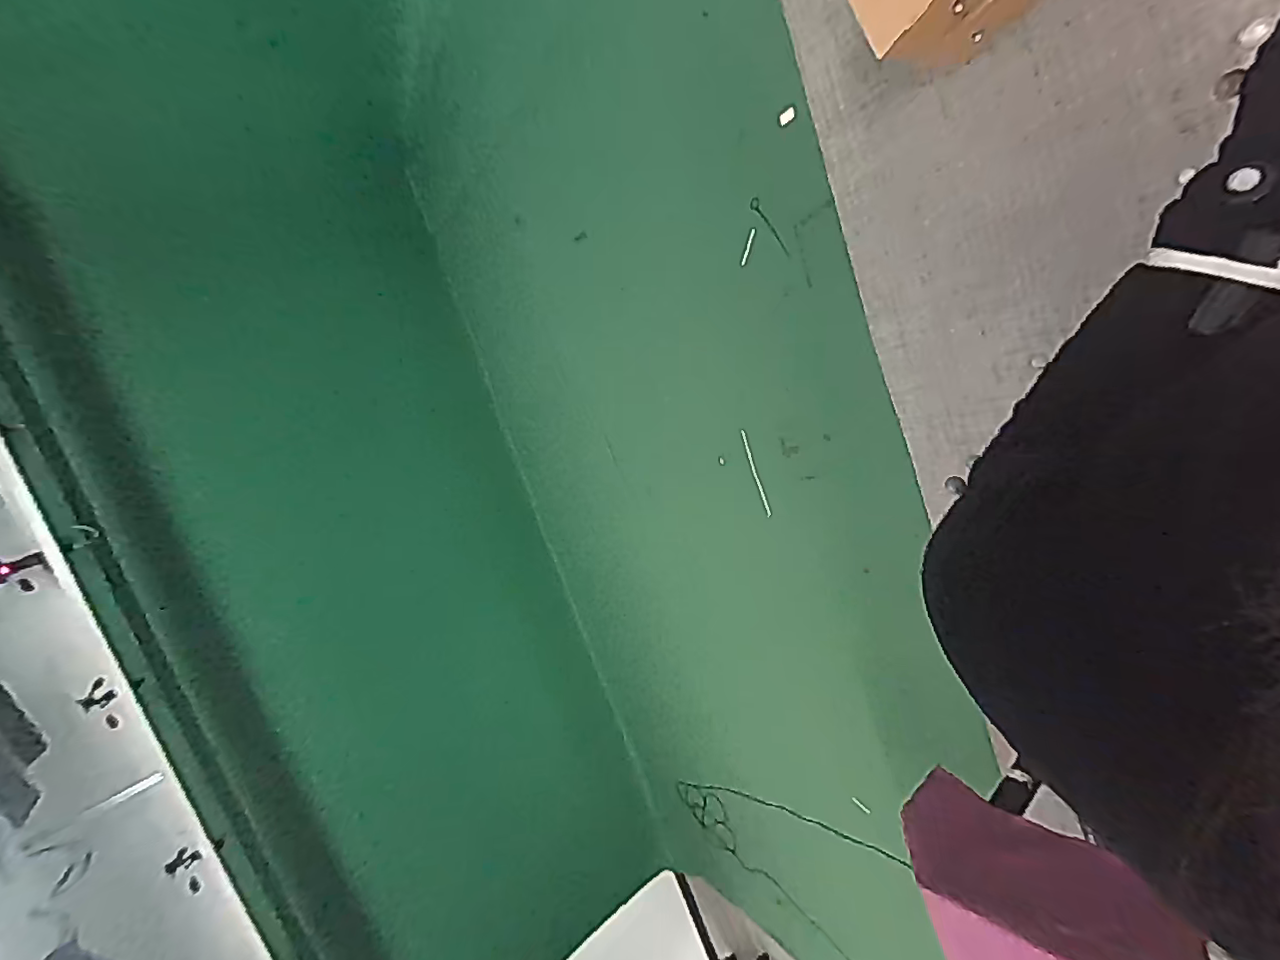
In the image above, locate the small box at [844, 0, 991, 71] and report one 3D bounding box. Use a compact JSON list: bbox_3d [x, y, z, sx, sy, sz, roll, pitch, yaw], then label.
[{"bbox_3d":[0.524,-0.919,1.023,0.168,0.176,0.179,-26,87,58],"label":"small box"}]
